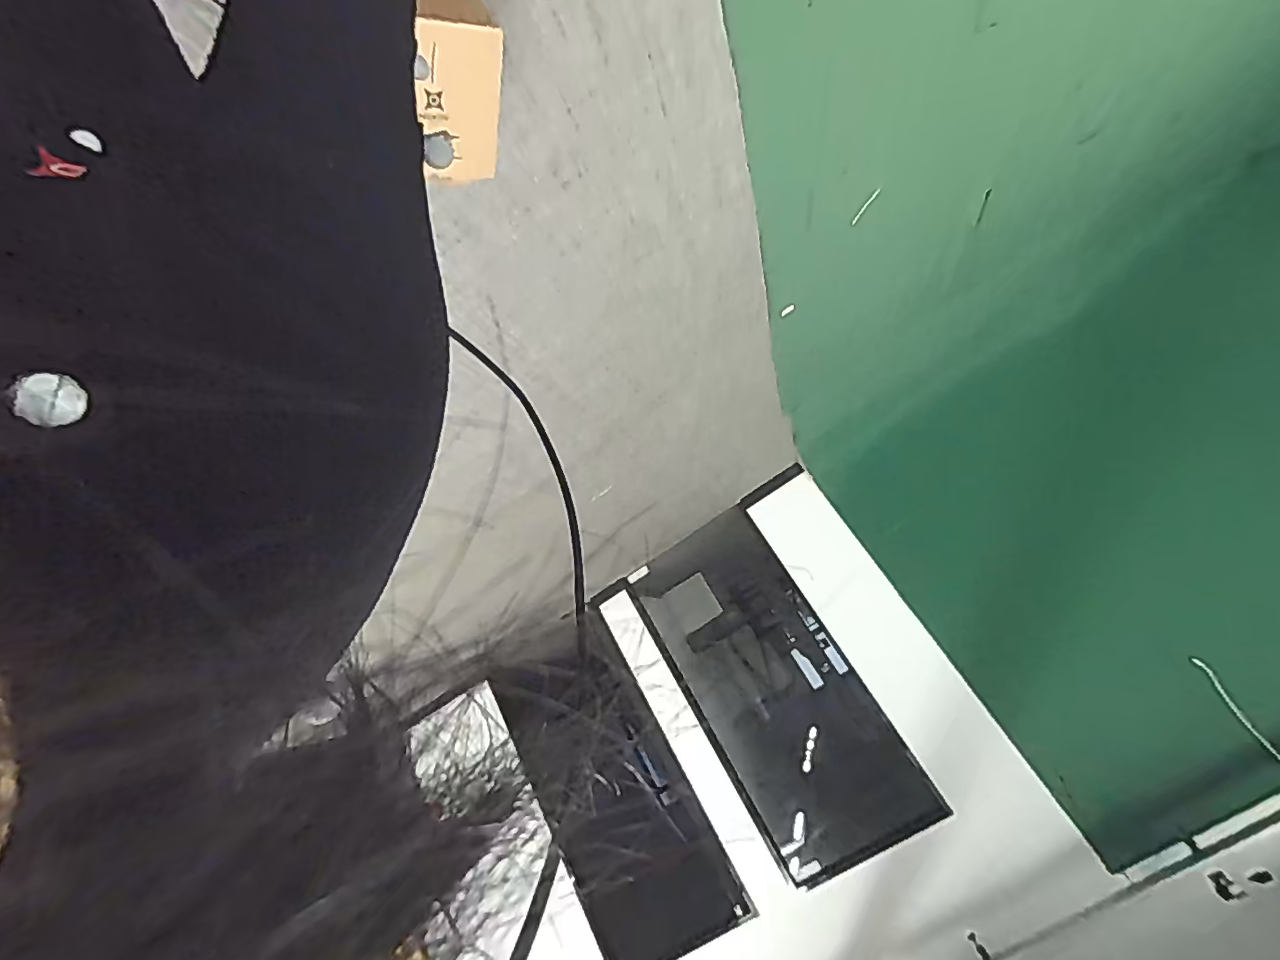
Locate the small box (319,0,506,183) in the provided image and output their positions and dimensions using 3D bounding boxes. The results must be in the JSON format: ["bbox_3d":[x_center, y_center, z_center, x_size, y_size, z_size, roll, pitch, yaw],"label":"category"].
[{"bbox_3d":[-0.283,-0.502,0.671,0.168,0.176,0.179,-18,155,-29],"label":"small box"}]
